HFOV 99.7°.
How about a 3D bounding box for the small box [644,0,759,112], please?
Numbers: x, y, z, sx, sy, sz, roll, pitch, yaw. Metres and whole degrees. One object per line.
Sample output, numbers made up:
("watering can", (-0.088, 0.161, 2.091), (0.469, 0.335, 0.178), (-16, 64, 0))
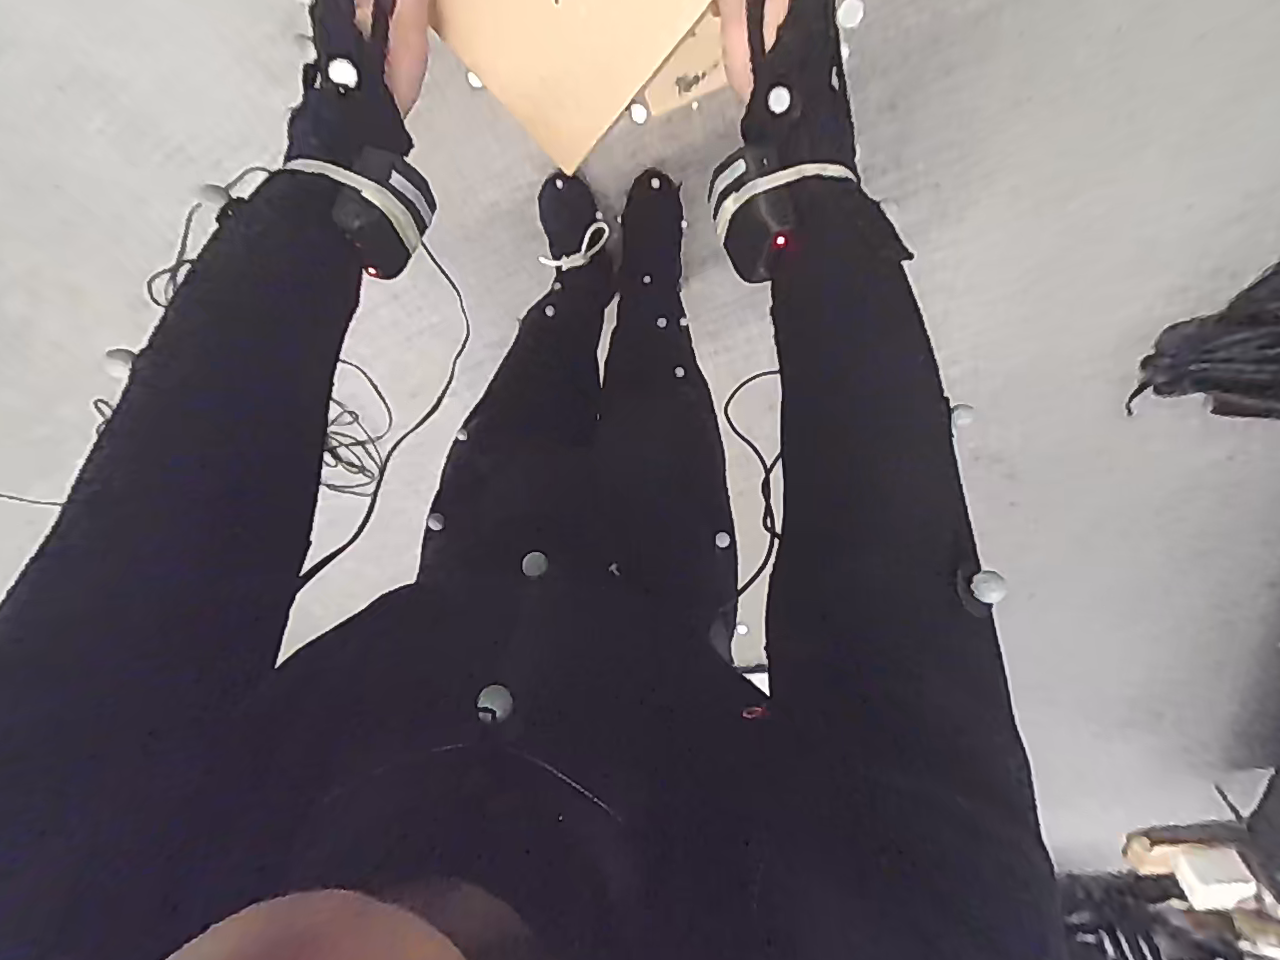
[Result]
("small box", (0.067, -0.677, 0.792), (0.168, 0.176, 0.179), (-15, 127, 17))

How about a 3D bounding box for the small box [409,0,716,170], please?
("small box", (-0.051, -0.376, 0.400), (0.168, 0.176, 0.179), (-36, 117, 29))
